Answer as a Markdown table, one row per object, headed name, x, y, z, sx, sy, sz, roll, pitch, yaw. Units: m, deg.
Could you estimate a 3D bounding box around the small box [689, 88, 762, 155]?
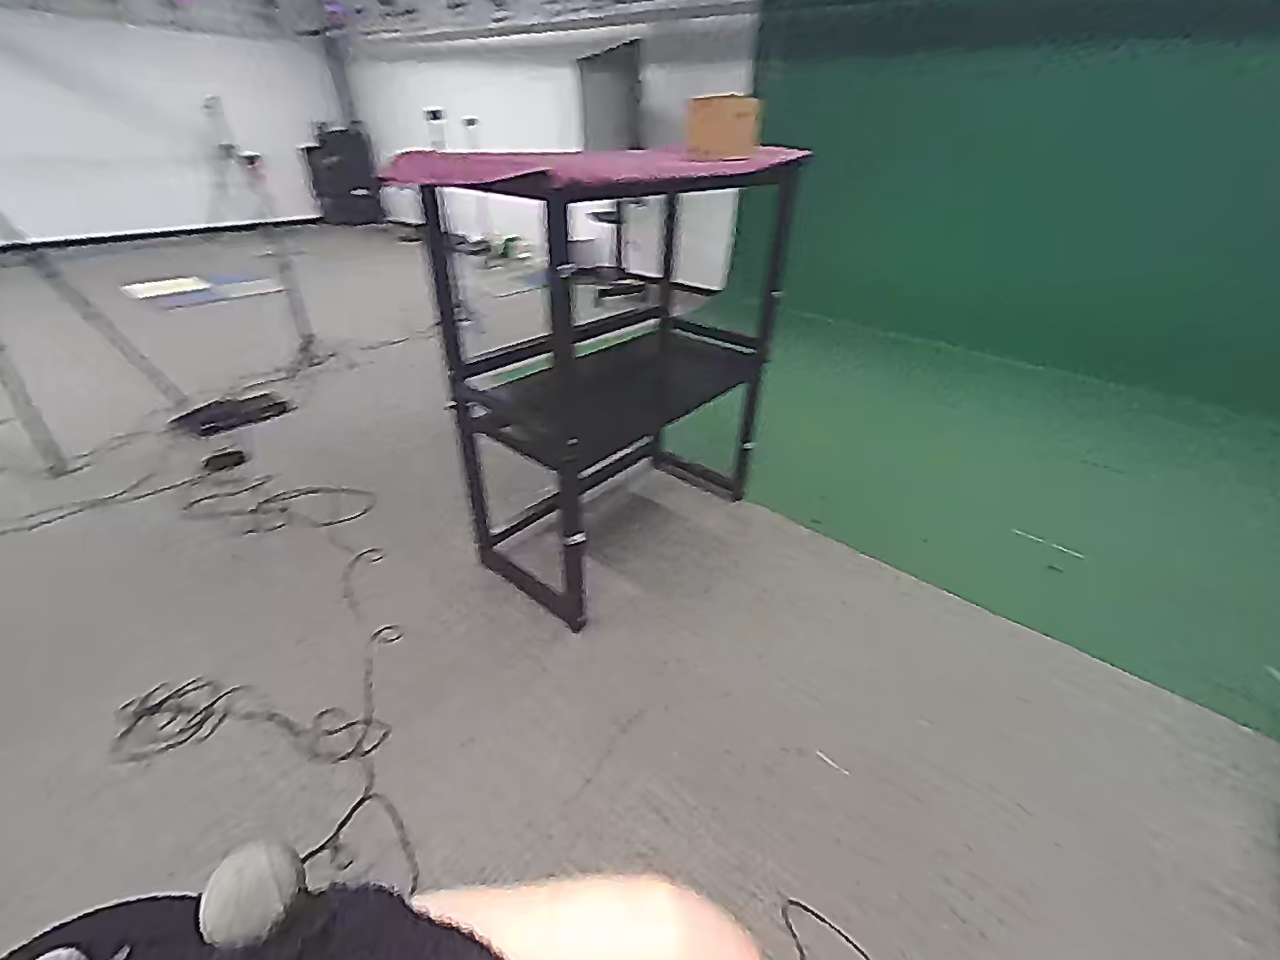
| name | x | y | z | sx | sy | sz | roll | pitch | yaw |
| --- | --- | --- | --- | --- | --- | --- | --- | --- | --- |
| small box | 0.271 | -1.139 | 1.725 | 0.168 | 0.176 | 0.179 | 25 | 40 | 34 |
